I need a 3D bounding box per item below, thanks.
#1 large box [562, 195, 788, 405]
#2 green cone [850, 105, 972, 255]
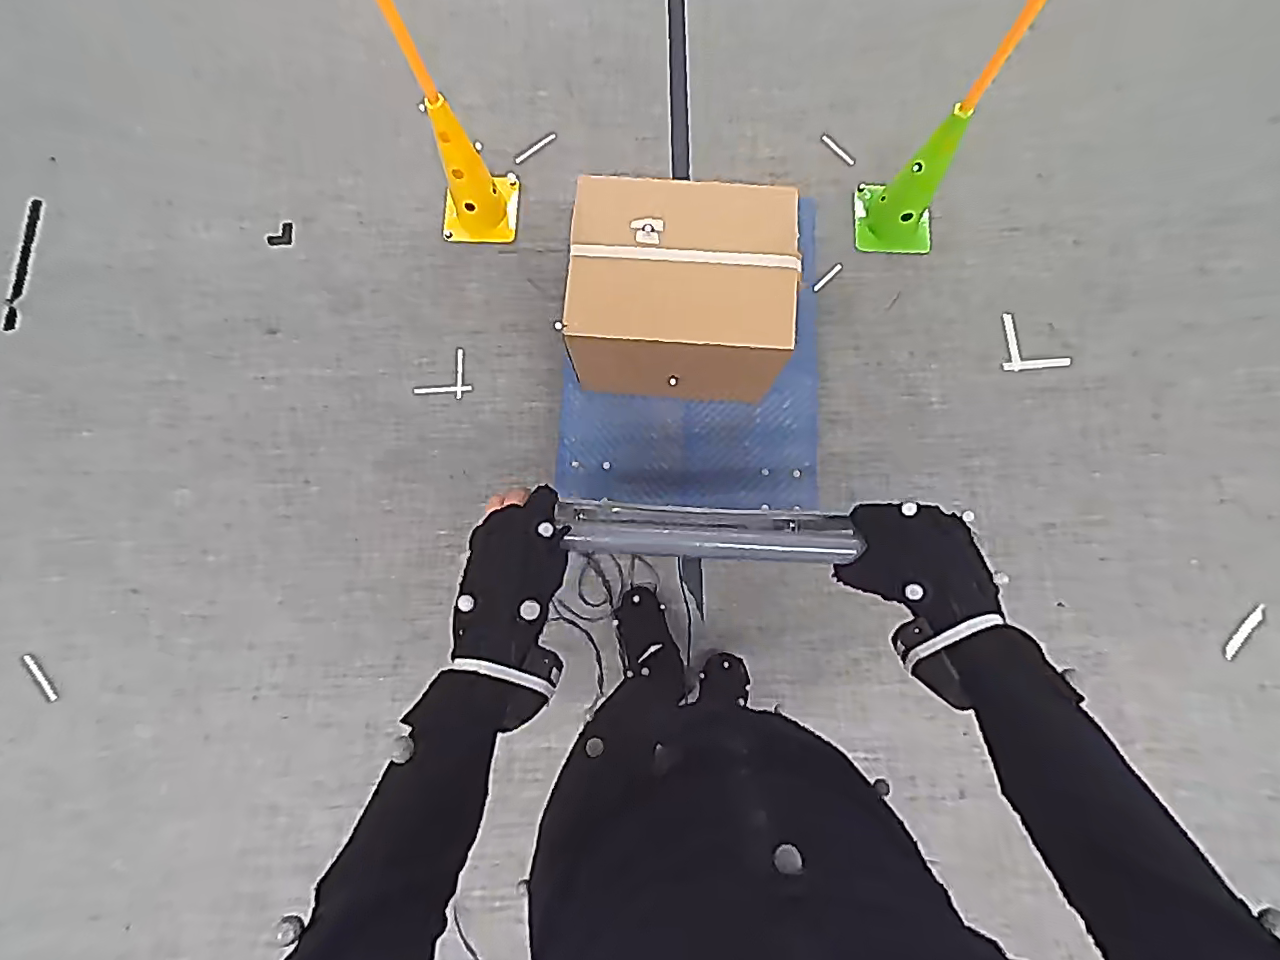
[{"bbox_3d":[0.073,-0.349,1.121,0.408,0.320,0.320,4,80,2],"label":"large box"},{"bbox_3d":[0.682,-0.744,1.323,0.202,0.368,0.200,2,80,1],"label":"green cone"}]
